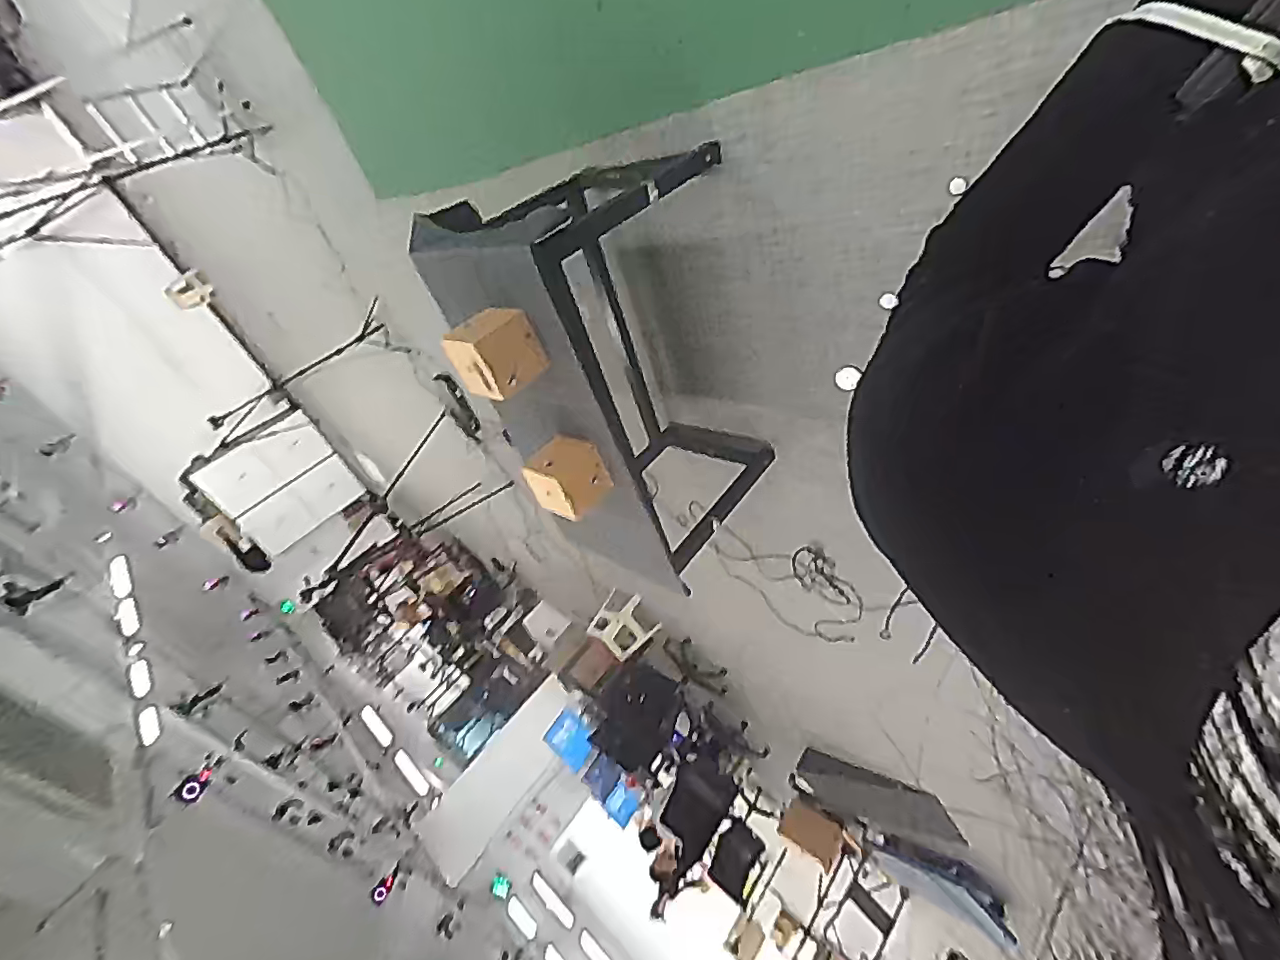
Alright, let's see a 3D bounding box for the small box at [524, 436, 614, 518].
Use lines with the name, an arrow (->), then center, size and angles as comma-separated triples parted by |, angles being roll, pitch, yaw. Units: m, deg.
small box -> -0.208, -0.016, 1.628 | 0.179, 0.176, 0.168 | 16, 141, 42
